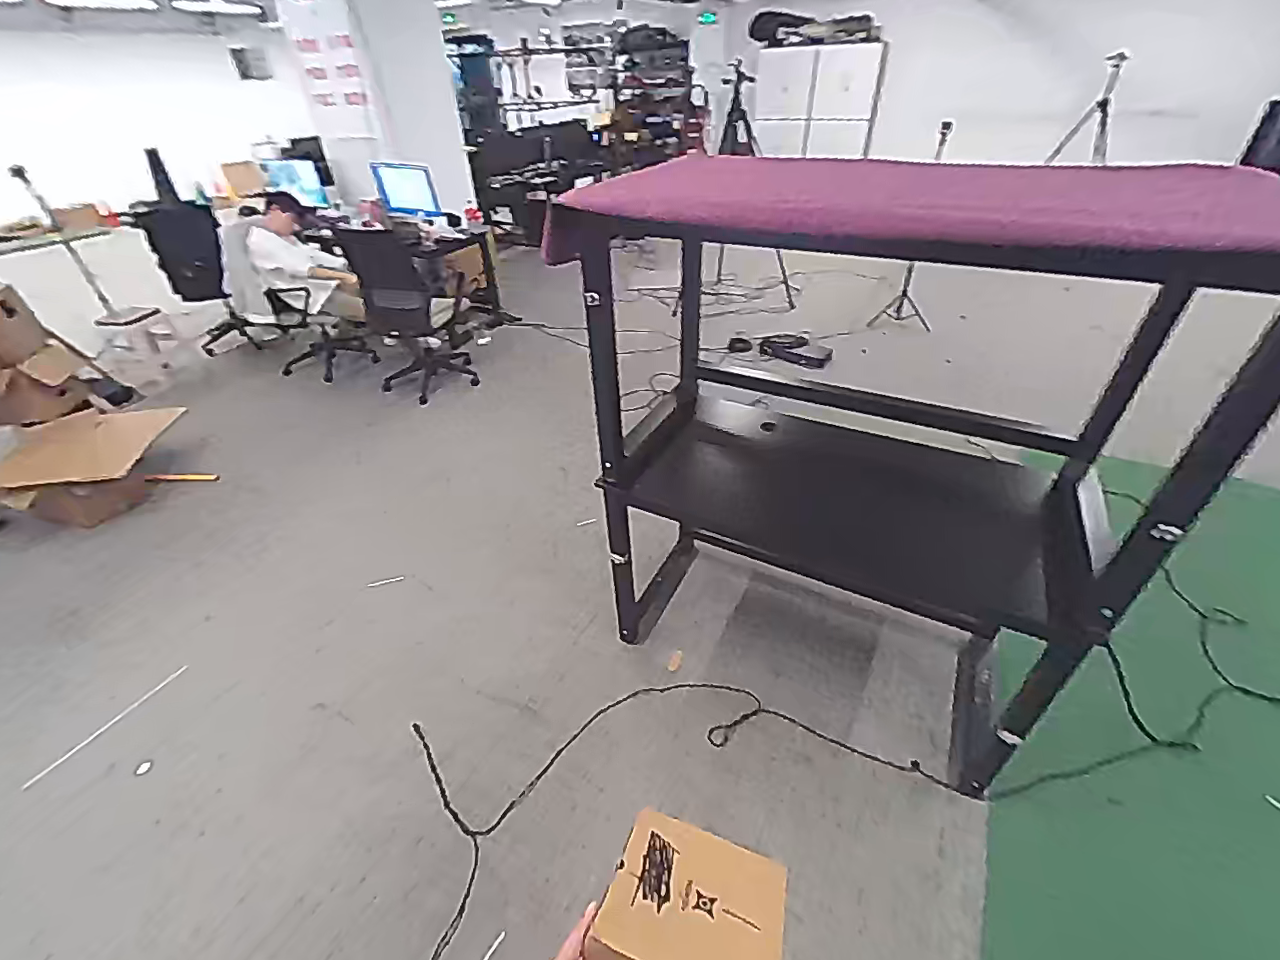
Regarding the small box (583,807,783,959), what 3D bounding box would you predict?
[{"bbox_3d":[0.039,0.496,0.560,0.179,0.176,0.168,14,13,15],"label":"small box"}]
